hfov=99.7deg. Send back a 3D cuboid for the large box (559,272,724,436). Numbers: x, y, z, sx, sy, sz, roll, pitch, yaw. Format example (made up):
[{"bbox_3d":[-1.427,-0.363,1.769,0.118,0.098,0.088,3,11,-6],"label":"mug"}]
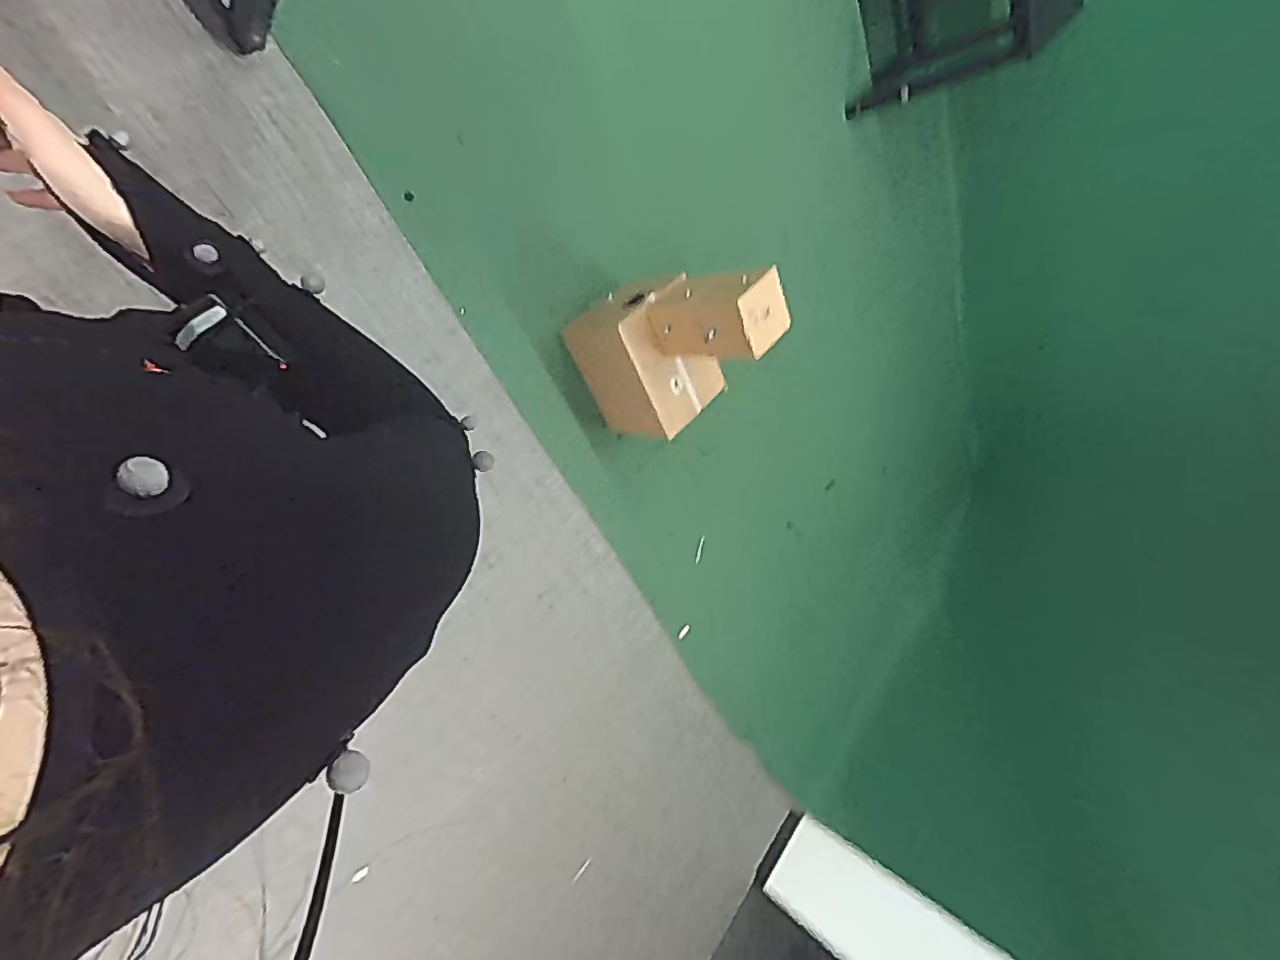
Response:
[{"bbox_3d":[0.010,-0.407,1.761,0.320,0.320,0.408,-44,126,-24],"label":"large box"}]

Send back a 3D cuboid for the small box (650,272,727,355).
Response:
[{"bbox_3d":[0.159,-0.476,1.548,0.179,0.176,0.168,-44,126,-25],"label":"small box"}]

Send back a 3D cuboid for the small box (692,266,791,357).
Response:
[{"bbox_3d":[0.267,-0.443,1.428,0.179,0.176,0.168,-45,126,-24],"label":"small box"}]
